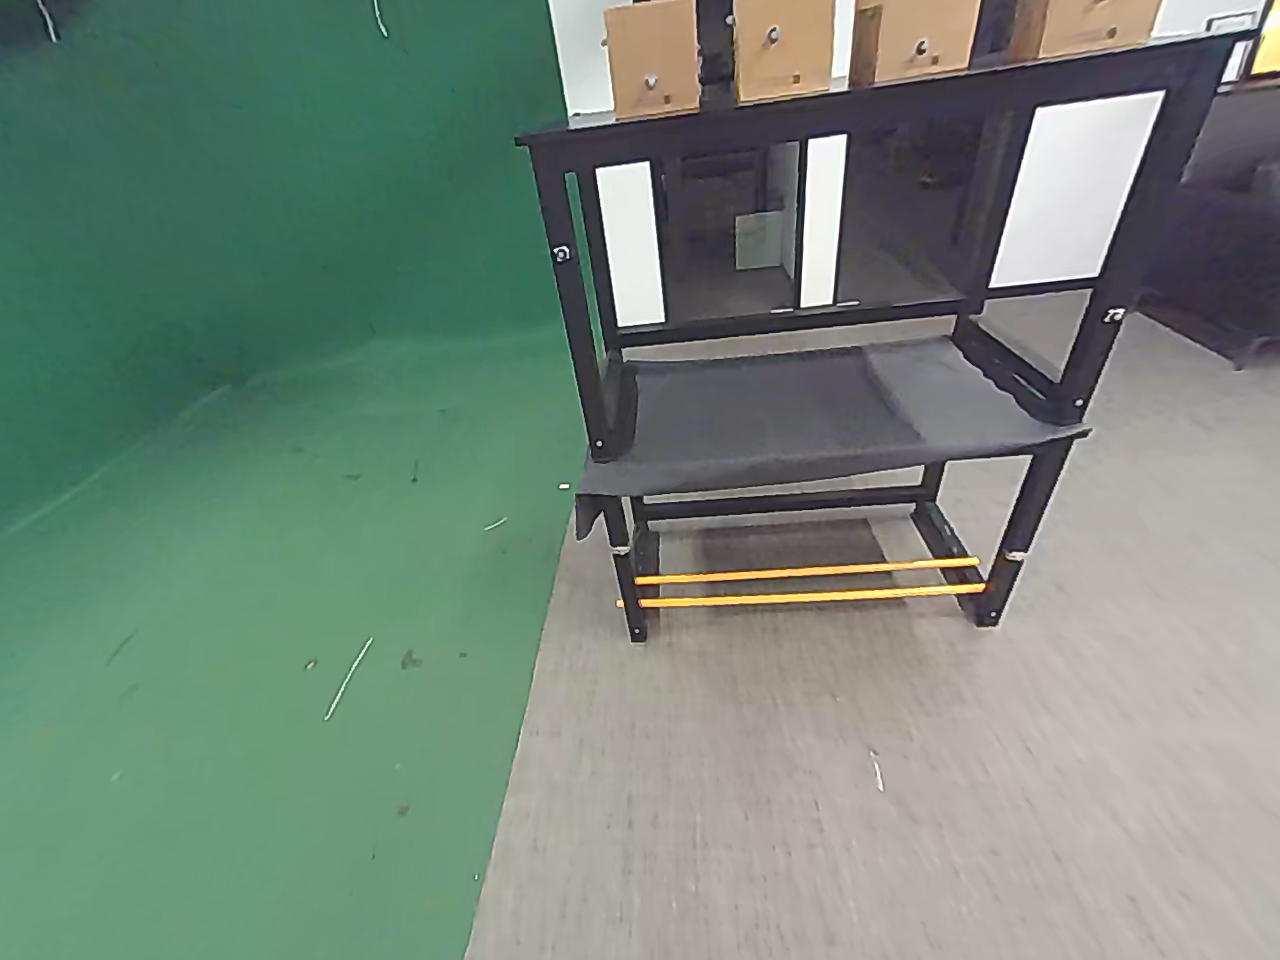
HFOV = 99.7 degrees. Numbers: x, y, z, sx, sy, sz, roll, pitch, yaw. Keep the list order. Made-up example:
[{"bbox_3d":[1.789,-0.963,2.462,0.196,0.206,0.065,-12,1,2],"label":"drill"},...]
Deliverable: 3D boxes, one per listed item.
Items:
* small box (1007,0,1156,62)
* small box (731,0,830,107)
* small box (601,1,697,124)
[{"bbox_3d":[0.770,-0.844,0.936,0.168,0.176,0.179,2,37,14],"label":"small box"},{"bbox_3d":[0.262,-0.821,1.025,0.168,0.176,0.179,-3,36,8],"label":"small box"},{"bbox_3d":[0.020,-0.816,1.070,0.168,0.176,0.179,-7,37,4],"label":"small box"}]
